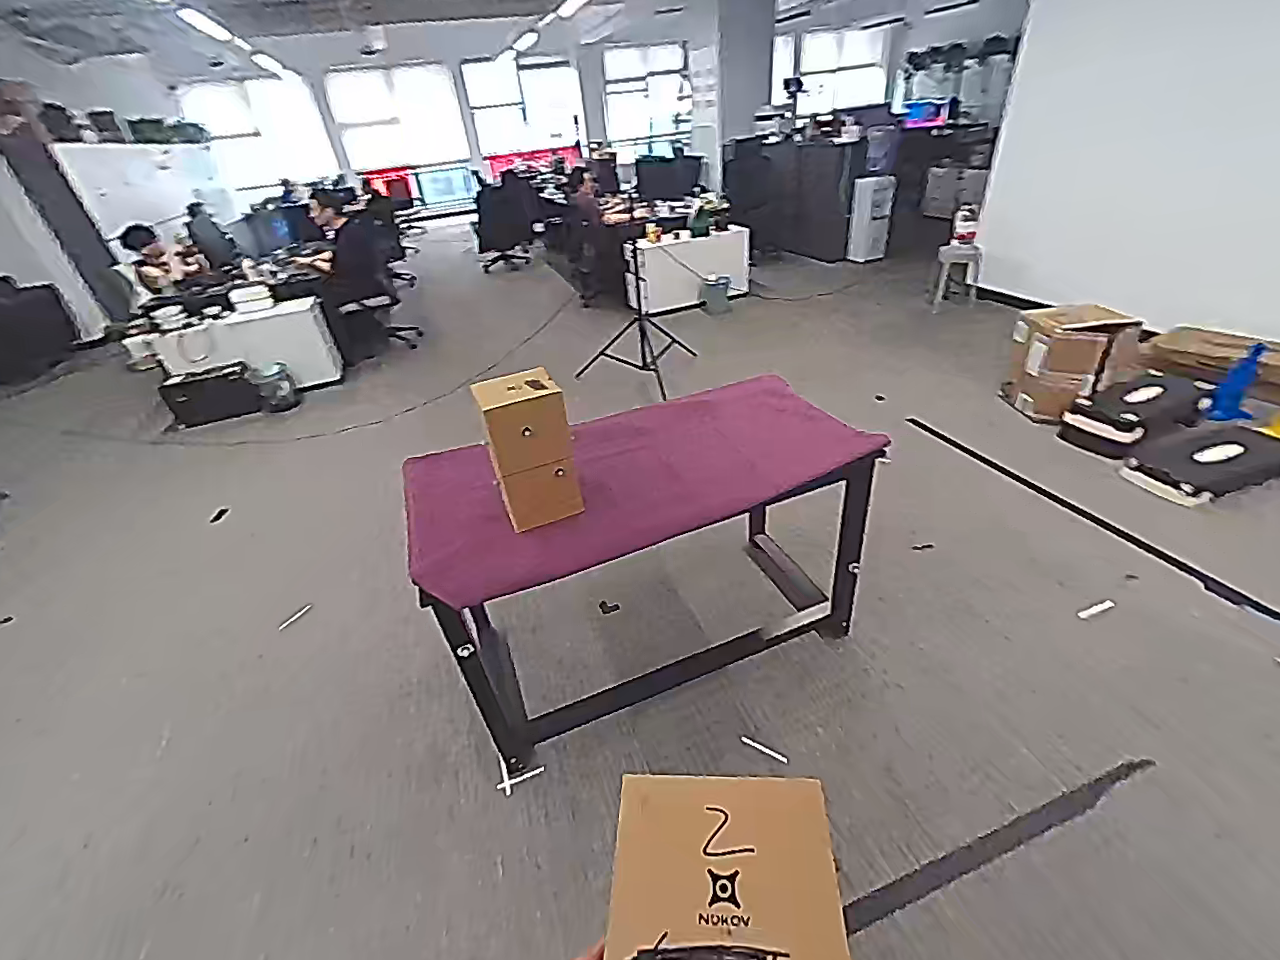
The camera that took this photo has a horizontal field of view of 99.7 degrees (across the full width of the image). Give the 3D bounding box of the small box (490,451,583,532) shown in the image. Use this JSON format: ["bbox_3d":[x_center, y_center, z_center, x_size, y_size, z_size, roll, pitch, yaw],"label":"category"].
[{"bbox_3d":[-0.255,0.005,1.347,0.179,0.176,0.168,-18,35,-17],"label":"small box"}]

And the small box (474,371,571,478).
[{"bbox_3d":[-0.267,-0.130,1.253,0.179,0.176,0.168,-18,35,-17],"label":"small box"}]
